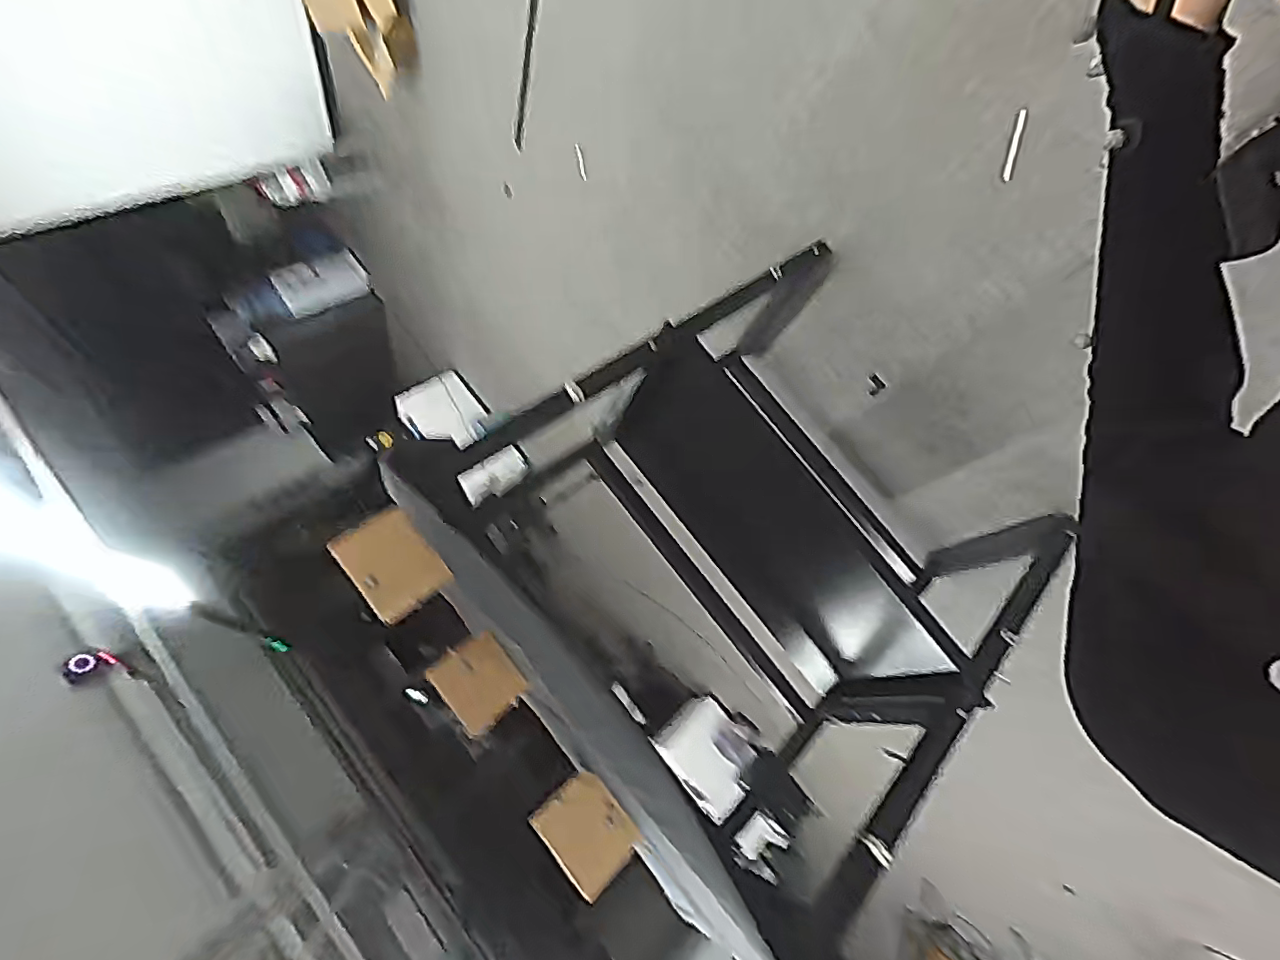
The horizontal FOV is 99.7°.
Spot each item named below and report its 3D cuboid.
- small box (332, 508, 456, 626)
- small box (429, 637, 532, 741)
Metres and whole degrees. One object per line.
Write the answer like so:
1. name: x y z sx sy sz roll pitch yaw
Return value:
1. small box: -0.504 0.184 1.132 0.168 0.176 0.179 52 153 3
2. small box: -0.388 0.498 1.312 0.179 0.176 0.168 52 153 5
